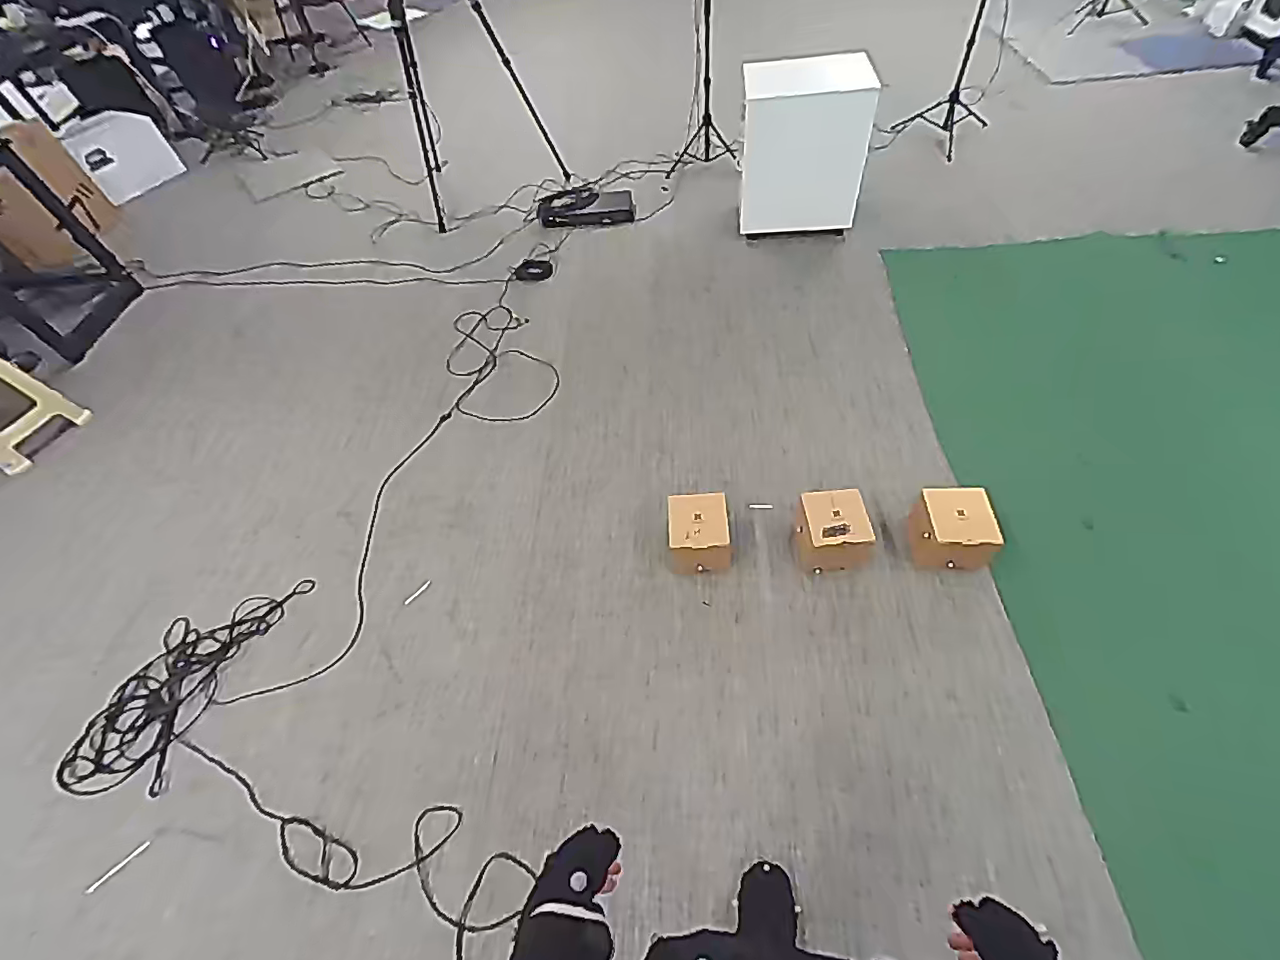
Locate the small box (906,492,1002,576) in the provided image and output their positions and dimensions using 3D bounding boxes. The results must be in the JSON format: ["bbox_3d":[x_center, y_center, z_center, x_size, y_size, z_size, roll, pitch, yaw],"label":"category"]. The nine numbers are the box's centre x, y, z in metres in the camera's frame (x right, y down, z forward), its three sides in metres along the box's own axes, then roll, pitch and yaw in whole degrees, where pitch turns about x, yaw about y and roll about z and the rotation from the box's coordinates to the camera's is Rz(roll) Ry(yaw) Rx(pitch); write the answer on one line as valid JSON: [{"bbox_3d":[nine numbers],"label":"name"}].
[{"bbox_3d":[0.871,0.152,1.520,0.168,0.176,0.179,-1,54,7],"label":"small box"}]

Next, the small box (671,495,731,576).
[{"bbox_3d":[0.175,0.164,1.585,0.168,0.176,0.179,-3,54,6],"label":"small box"}]

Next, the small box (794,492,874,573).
[{"bbox_3d":[0.548,0.157,1.551,0.168,0.176,0.179,-4,53,3],"label":"small box"}]
